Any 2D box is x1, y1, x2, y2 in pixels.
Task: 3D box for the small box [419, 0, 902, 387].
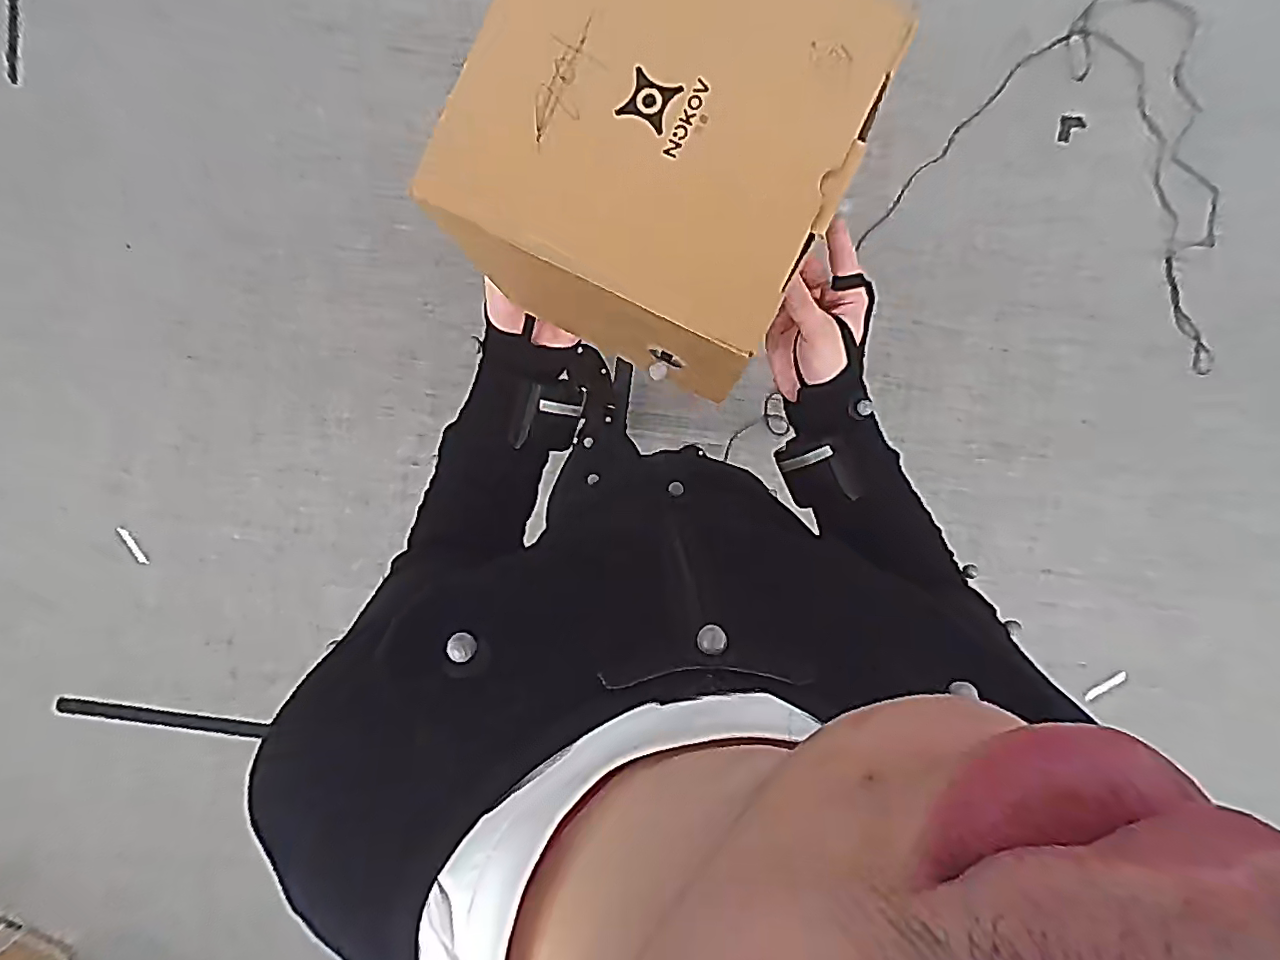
[{"bbox_3d":[0.012,-0.169,0.328,0.179,0.176,0.168,26,91,4],"label":"small box"}]
